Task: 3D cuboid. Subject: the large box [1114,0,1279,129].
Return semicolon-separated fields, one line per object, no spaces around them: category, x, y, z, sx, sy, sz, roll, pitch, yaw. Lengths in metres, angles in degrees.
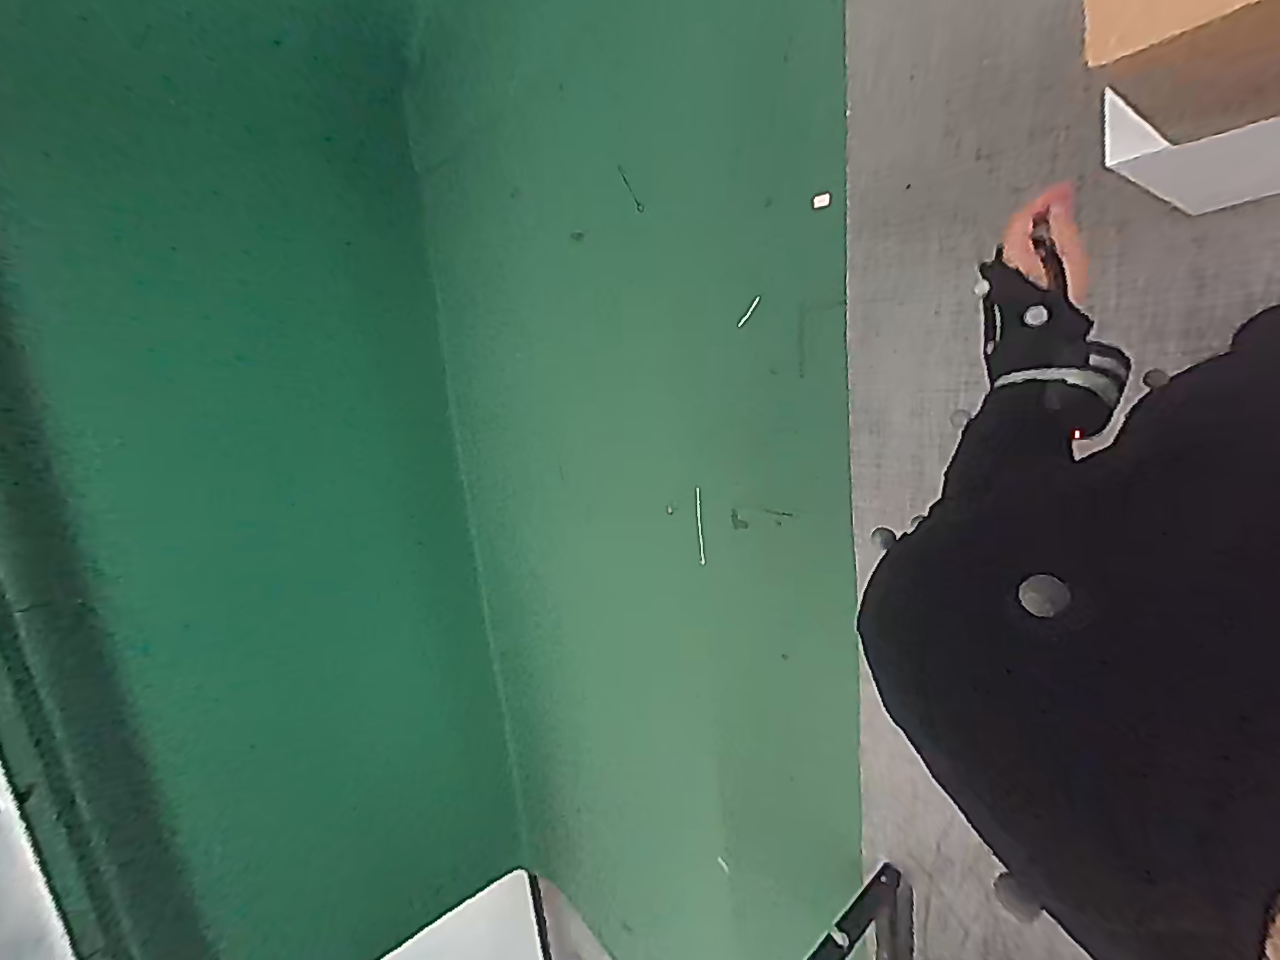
large box;0.534;-0.462;0.279;0.408;0.320;0.320;4;105;51
